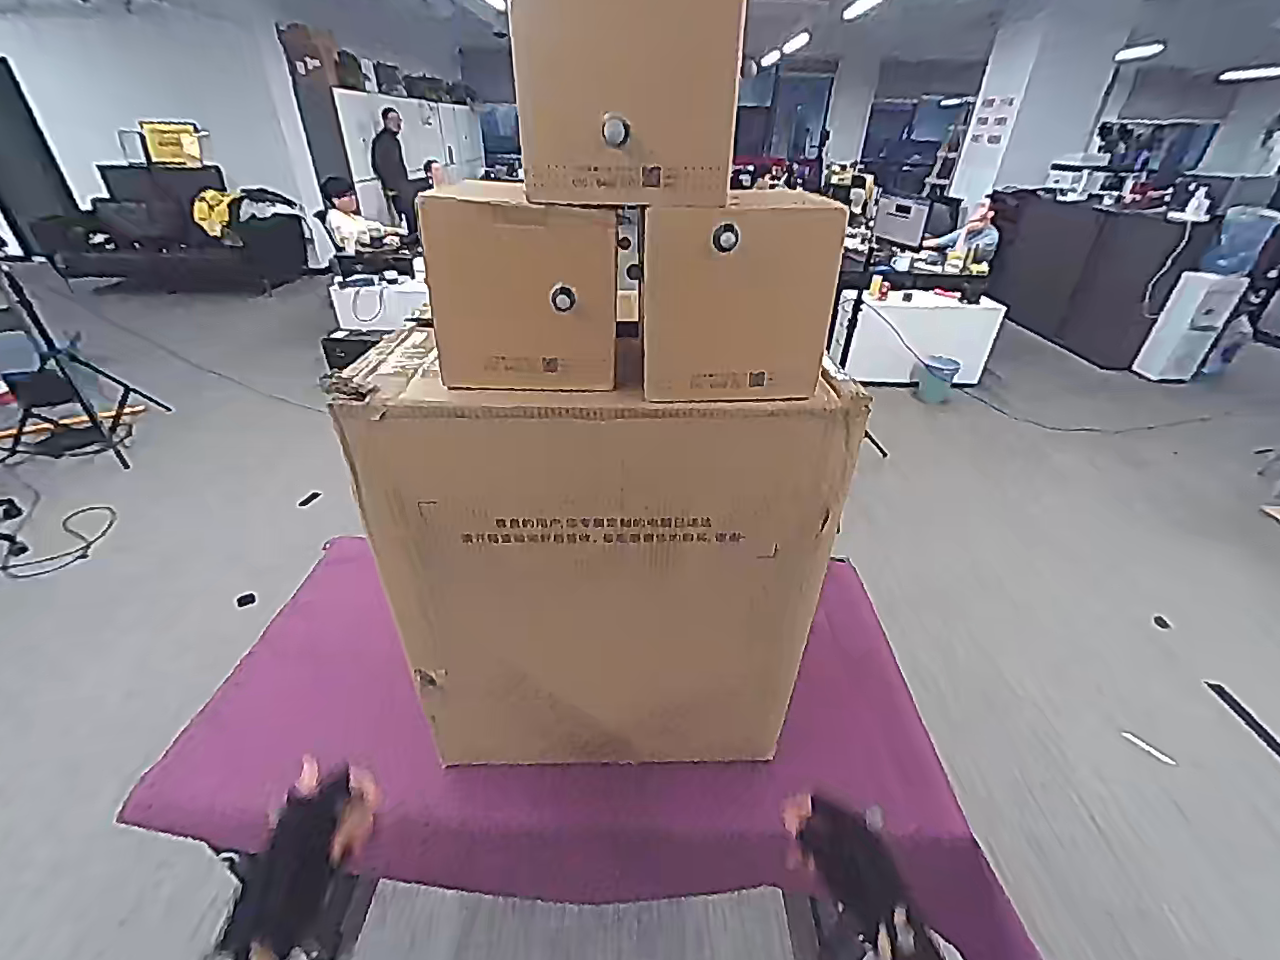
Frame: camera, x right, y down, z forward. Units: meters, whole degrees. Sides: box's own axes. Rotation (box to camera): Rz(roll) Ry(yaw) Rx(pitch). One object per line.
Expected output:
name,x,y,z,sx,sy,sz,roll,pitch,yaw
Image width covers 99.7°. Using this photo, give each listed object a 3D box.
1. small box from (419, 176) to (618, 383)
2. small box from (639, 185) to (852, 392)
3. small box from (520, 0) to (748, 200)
small box,-0.107,-0.206,0.552,0.168,0.176,0.179,1,31,-5
small box,0.085,-0.197,0.541,0.168,0.176,0.179,-2,31,-2
small box,0.001,-0.340,0.460,0.168,0.176,0.179,4,33,5
